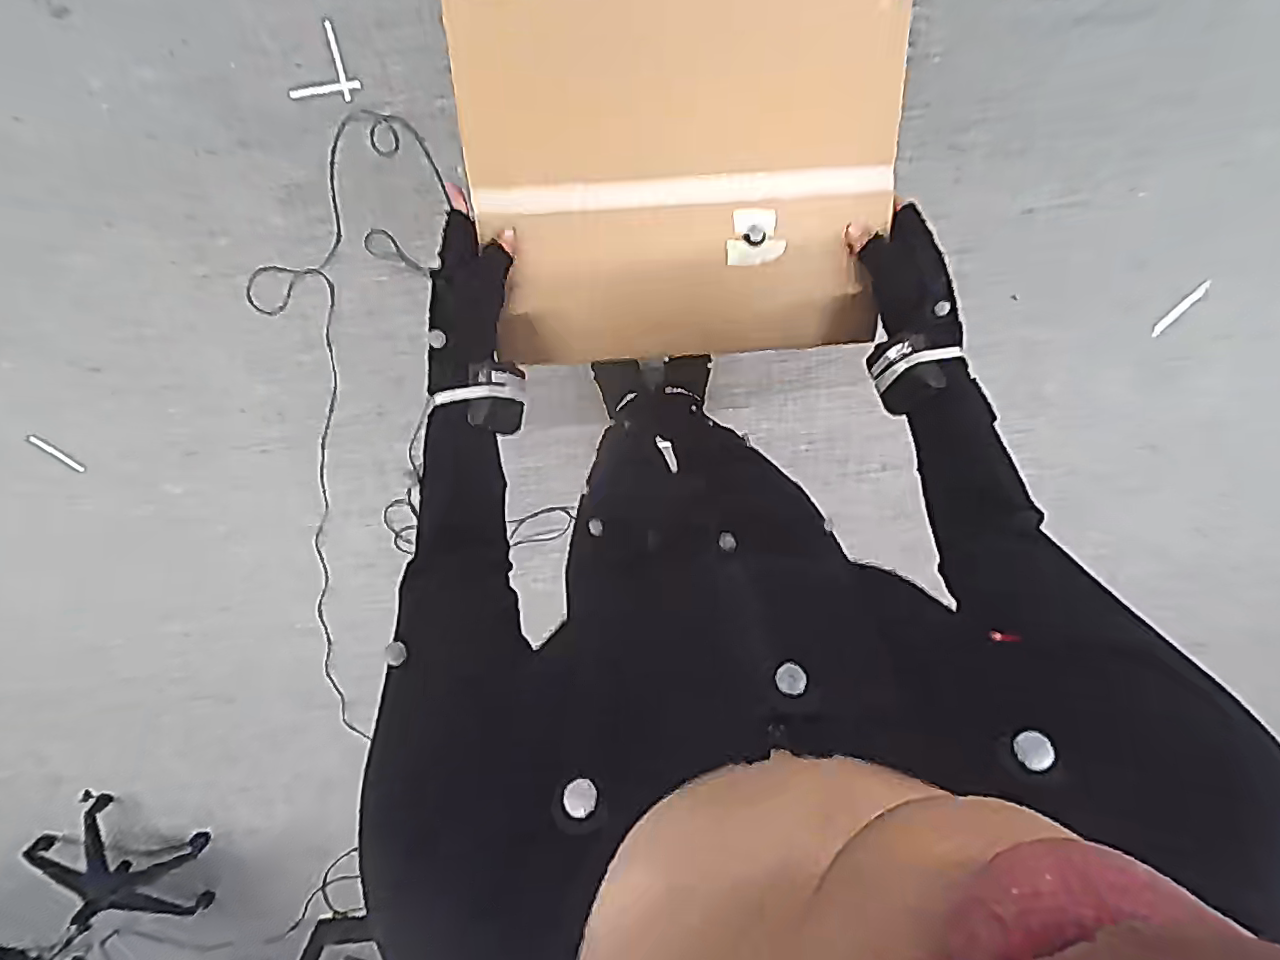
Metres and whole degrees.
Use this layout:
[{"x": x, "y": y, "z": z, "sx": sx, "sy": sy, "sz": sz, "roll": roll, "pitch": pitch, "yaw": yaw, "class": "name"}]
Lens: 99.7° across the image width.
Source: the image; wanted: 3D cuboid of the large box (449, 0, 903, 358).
[{"x": 0.032, "y": -0.341, "z": 0.656, "sx": 0.408, "sy": 0.320, "sz": 0.320, "roll": -4, "pitch": 113, "yaw": -2, "class": "large box"}]
